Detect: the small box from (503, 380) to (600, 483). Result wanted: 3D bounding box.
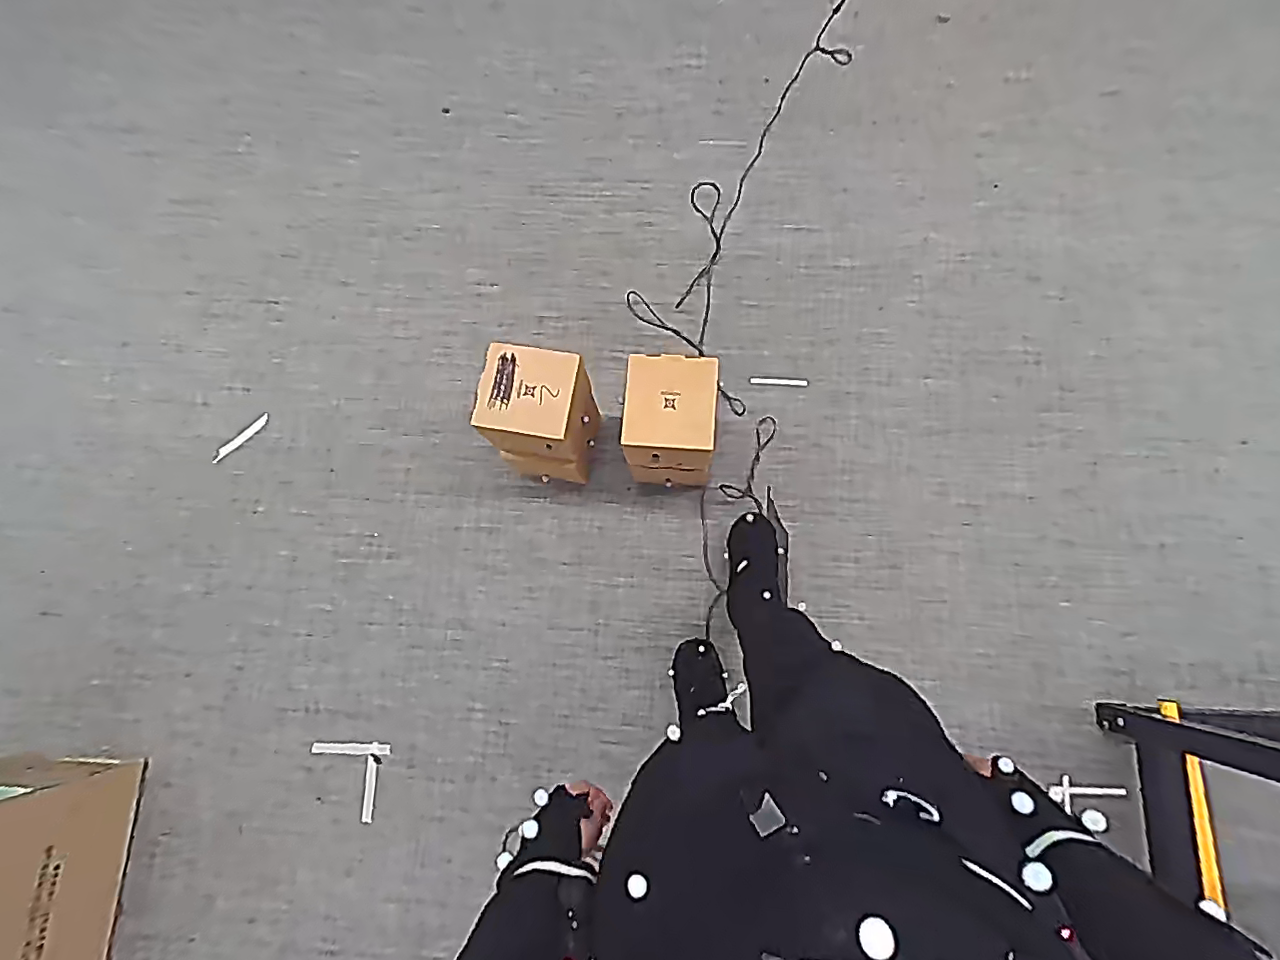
[{"bbox_3d":[-0.189,-0.103,1.218,0.168,0.176,0.179,10,80,5],"label":"small box"}]

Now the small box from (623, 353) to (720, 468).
[{"bbox_3d":[0.064,-0.127,1.045,0.168,0.176,0.179,4,78,5],"label":"small box"}]

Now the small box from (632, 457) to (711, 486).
[{"bbox_3d":[0.075,-0.093,1.203,0.168,0.176,0.179,4,79,5],"label":"small box"}]
